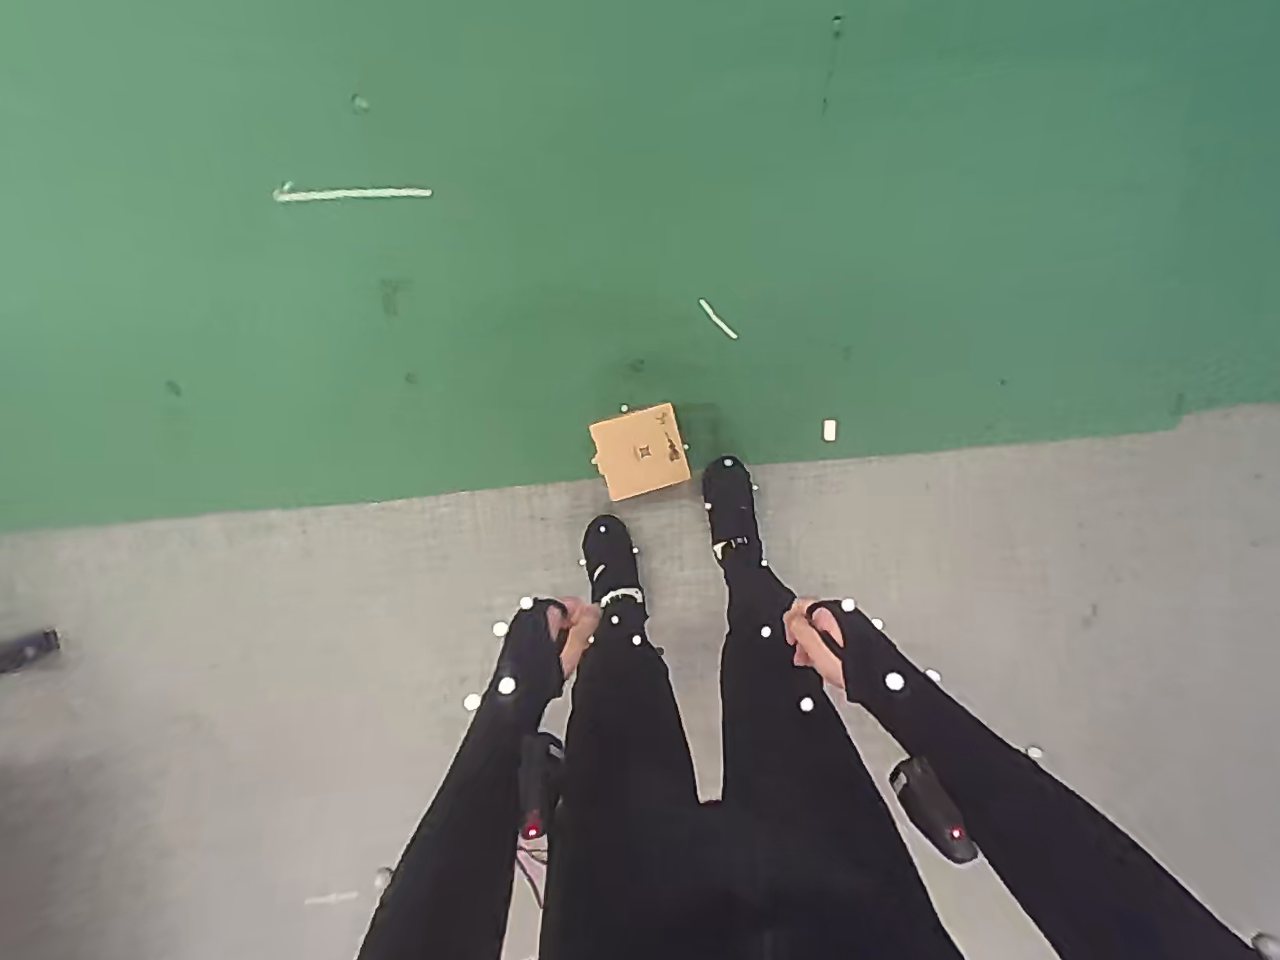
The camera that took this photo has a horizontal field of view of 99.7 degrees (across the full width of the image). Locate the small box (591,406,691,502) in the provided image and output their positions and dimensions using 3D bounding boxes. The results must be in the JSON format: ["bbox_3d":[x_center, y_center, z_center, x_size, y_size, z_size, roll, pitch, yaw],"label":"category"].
[{"bbox_3d":[-0.001,-0.060,1.181,0.179,0.176,0.168,-16,98,-2],"label":"small box"}]
